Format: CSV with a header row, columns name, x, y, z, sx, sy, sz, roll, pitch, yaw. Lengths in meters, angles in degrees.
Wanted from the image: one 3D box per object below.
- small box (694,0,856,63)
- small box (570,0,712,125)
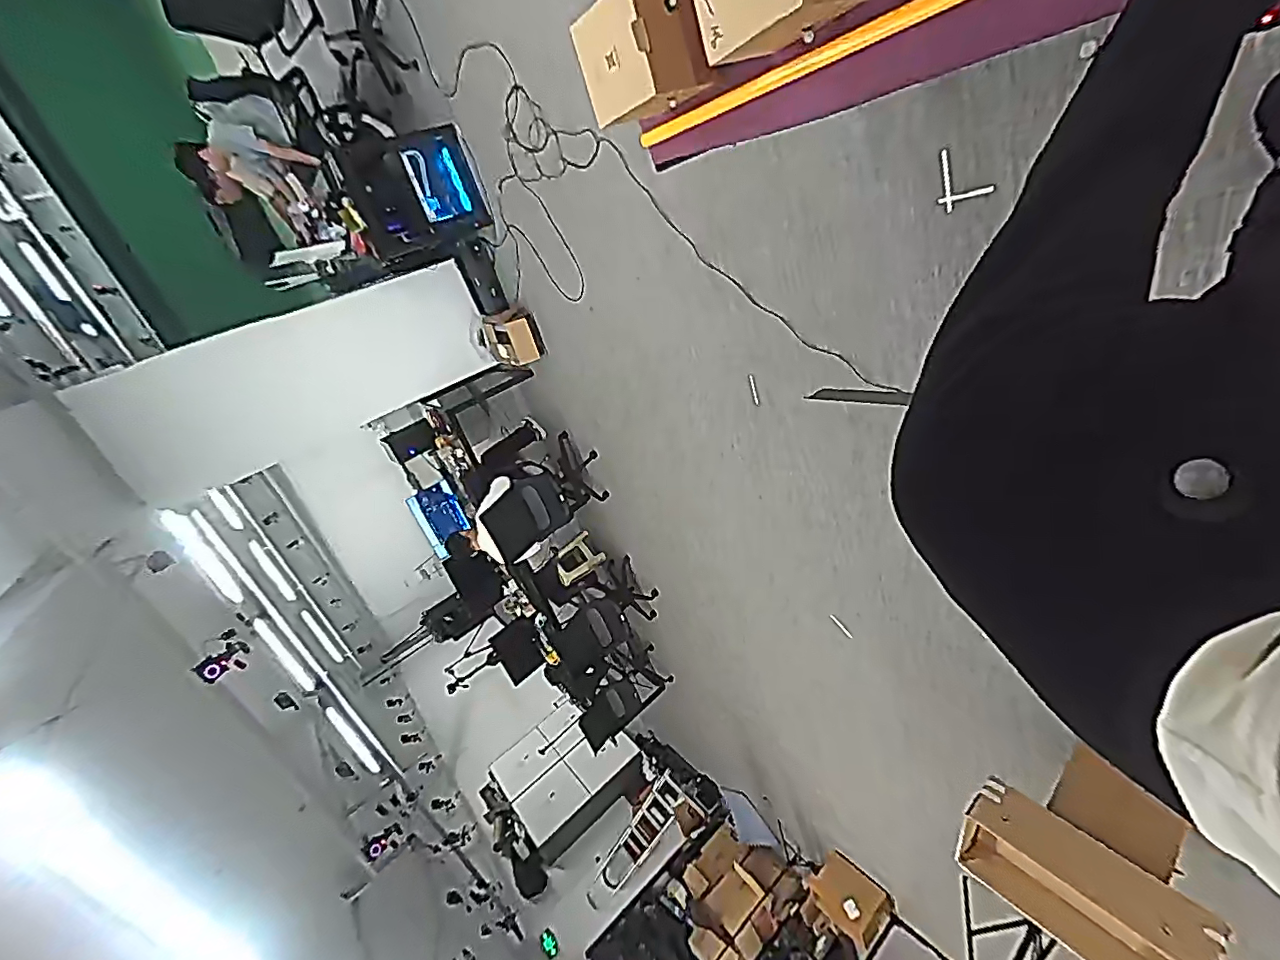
name,x,y,z,sx,sy,sz,roll,pitch,yaw
small box,0.187,-0.716,0.741,0.179,0.176,0.168,16,133,52
small box,0.011,-0.773,0.971,0.179,0.176,0.168,14,131,51
